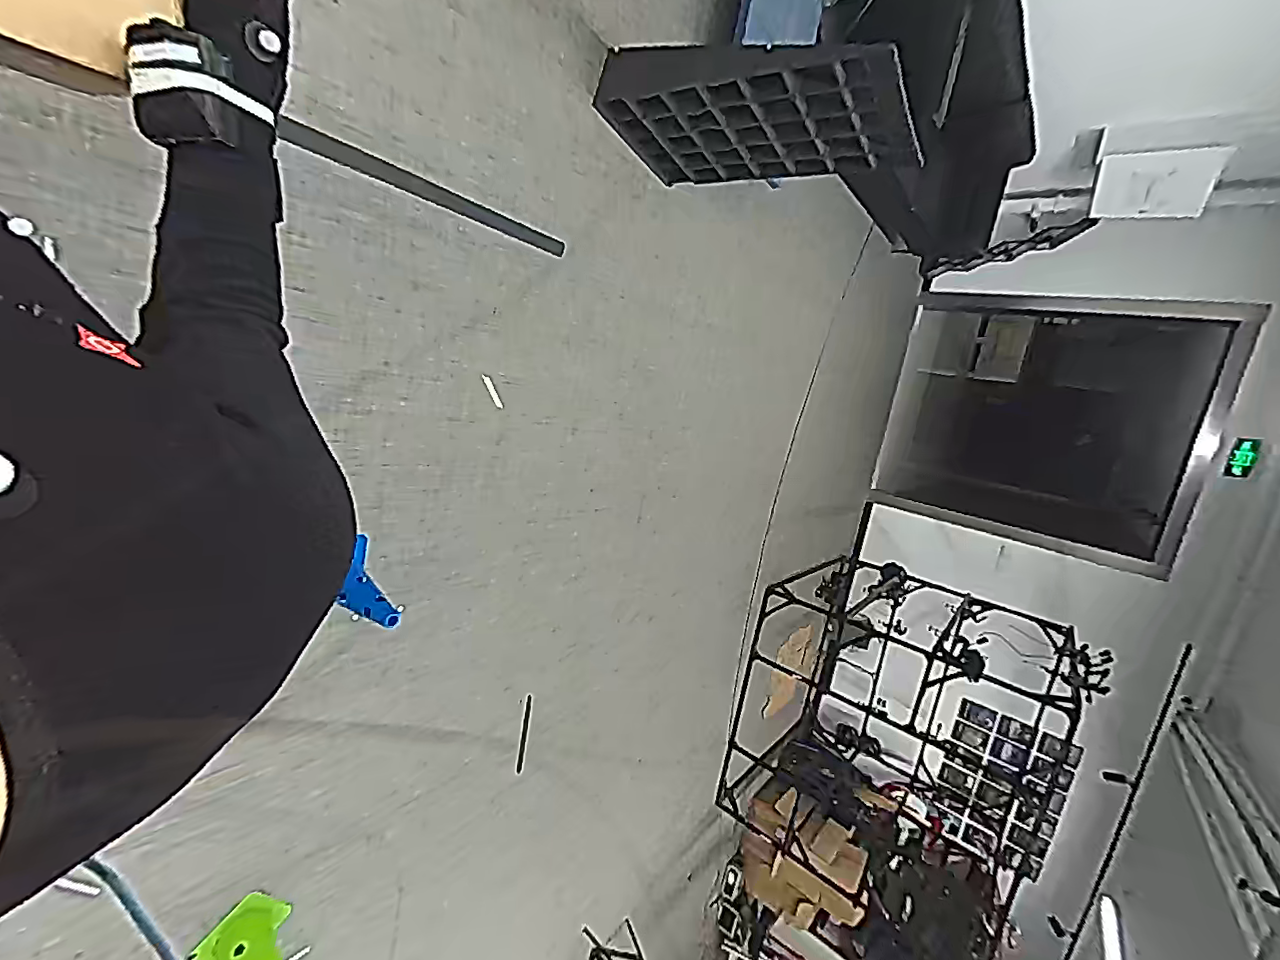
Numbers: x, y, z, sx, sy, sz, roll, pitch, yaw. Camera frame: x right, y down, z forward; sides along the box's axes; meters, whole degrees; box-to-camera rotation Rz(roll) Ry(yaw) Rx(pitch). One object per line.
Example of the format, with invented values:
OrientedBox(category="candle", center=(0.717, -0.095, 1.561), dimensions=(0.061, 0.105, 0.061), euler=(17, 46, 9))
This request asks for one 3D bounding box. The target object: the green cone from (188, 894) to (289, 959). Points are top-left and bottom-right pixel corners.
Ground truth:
OrientedBox(category="green cone", center=(-1.041, 1.382, 1.495), dimensions=(0.202, 0.368, 0.200), euler=(-47, 138, -33))

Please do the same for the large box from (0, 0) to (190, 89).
OrientedBox(category="large box", center=(-0.524, -0.458, 0.268), dimensions=(0.408, 0.320, 0.320), euler=(-9, 120, -53))
